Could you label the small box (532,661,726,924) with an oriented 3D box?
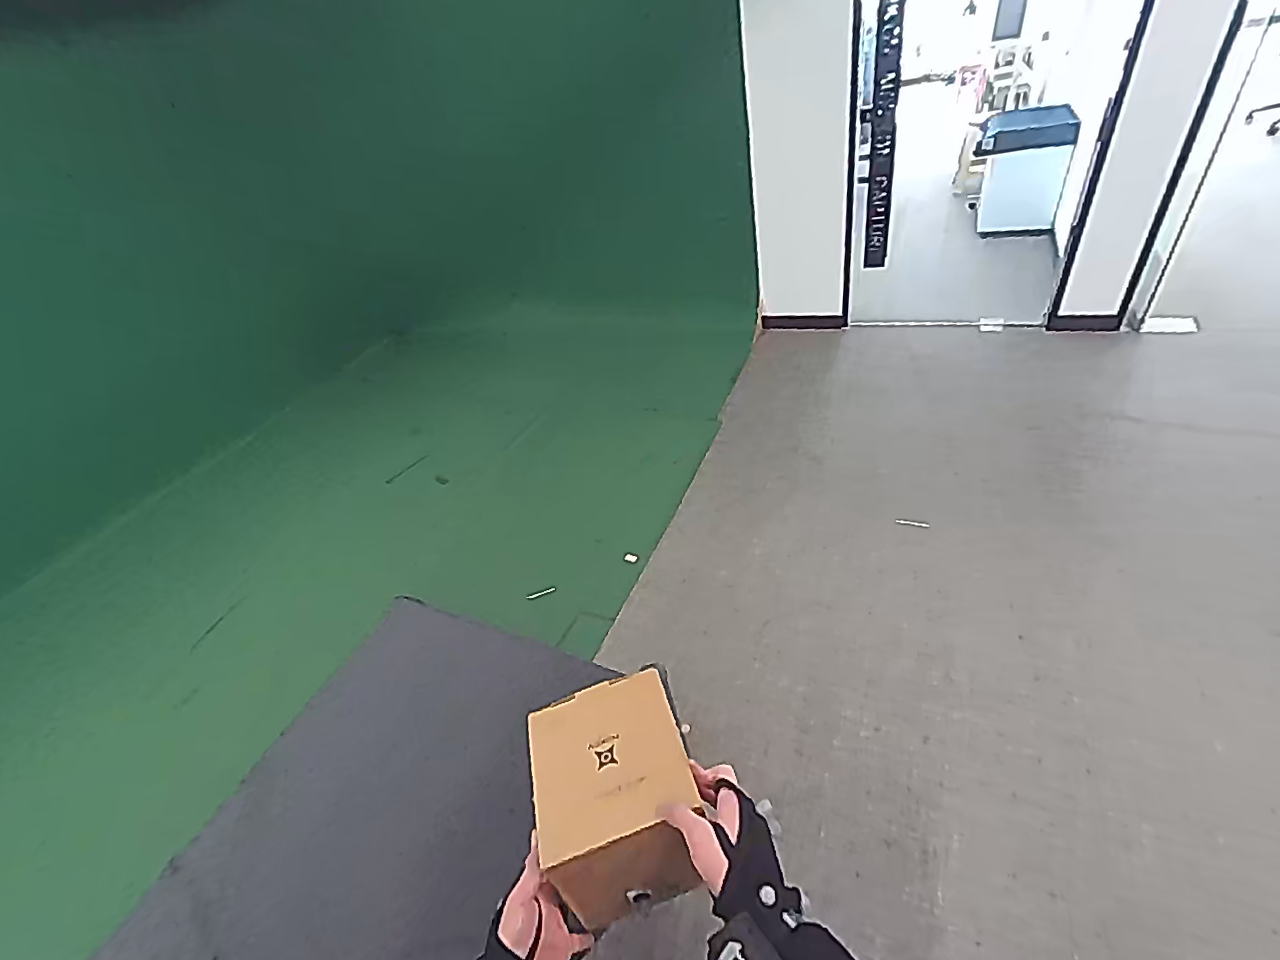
[{"bbox_3d":[-0.016,0.349,0.616,0.168,0.176,0.179,-19,31,-3],"label":"small box"}]
